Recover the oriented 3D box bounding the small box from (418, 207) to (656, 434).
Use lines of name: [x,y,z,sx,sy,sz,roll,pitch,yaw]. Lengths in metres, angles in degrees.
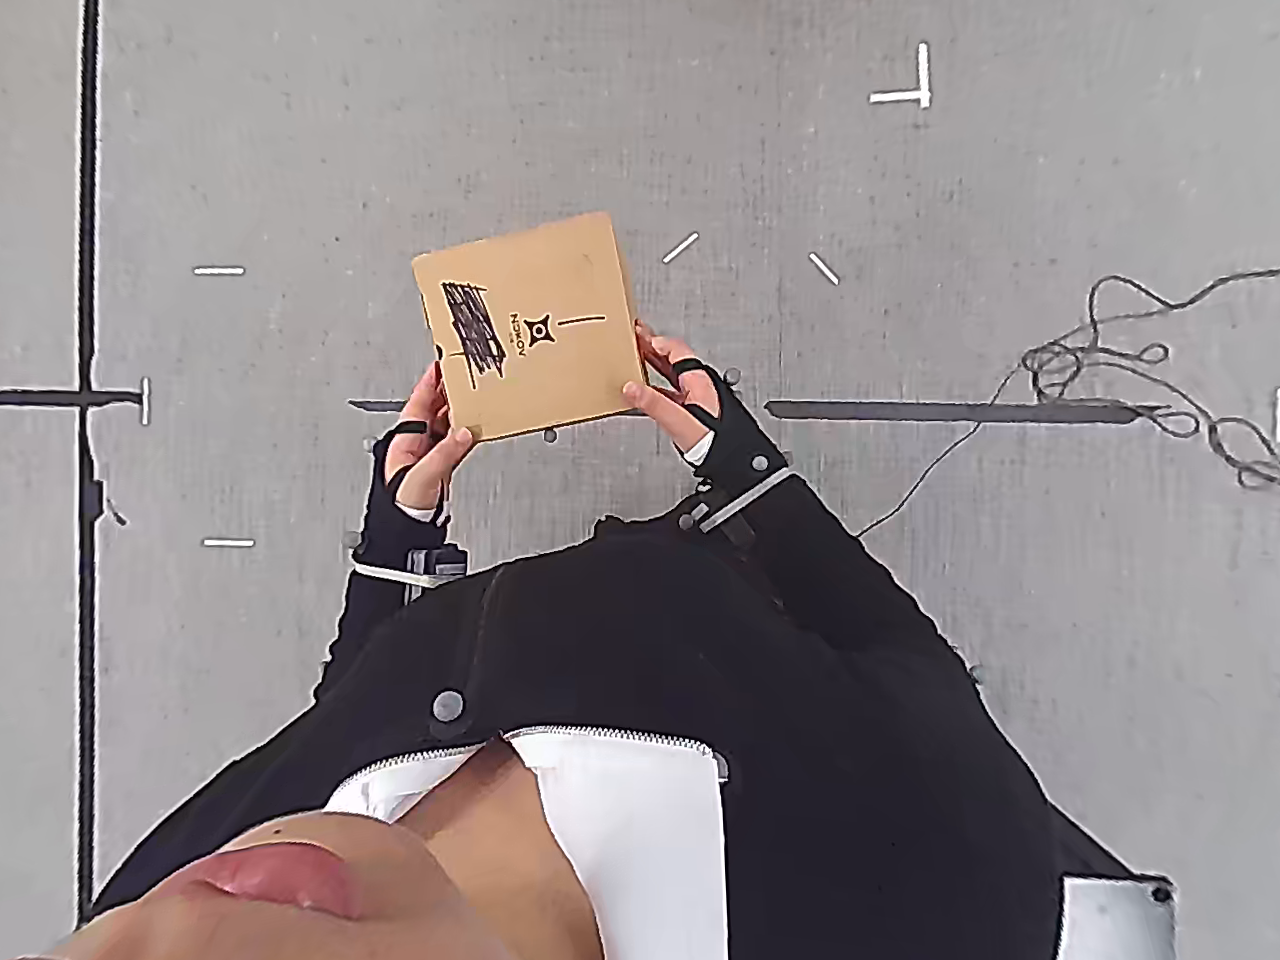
small box: [-0.086,-0.142,0.541,0.179,0.176,0.168,-11,97,5]
